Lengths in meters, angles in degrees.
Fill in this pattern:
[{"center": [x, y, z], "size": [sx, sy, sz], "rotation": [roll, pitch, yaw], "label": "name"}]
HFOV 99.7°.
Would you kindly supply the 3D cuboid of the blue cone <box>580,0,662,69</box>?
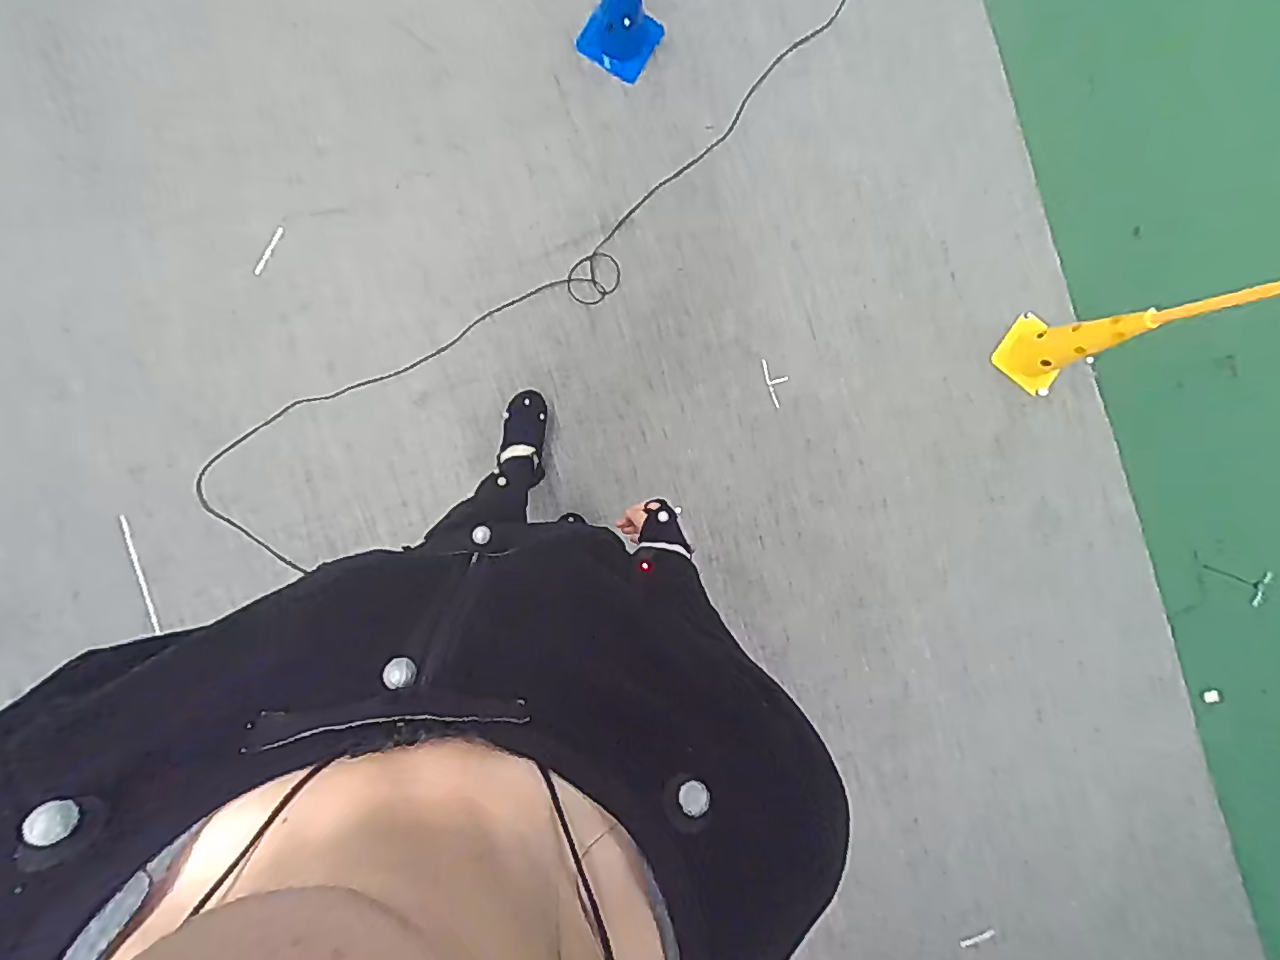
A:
[{"center": [-0.044, -1.255, 1.337], "size": [0.193, 0.380, 0.192], "rotation": [29, 88, -3], "label": "blue cone"}]
